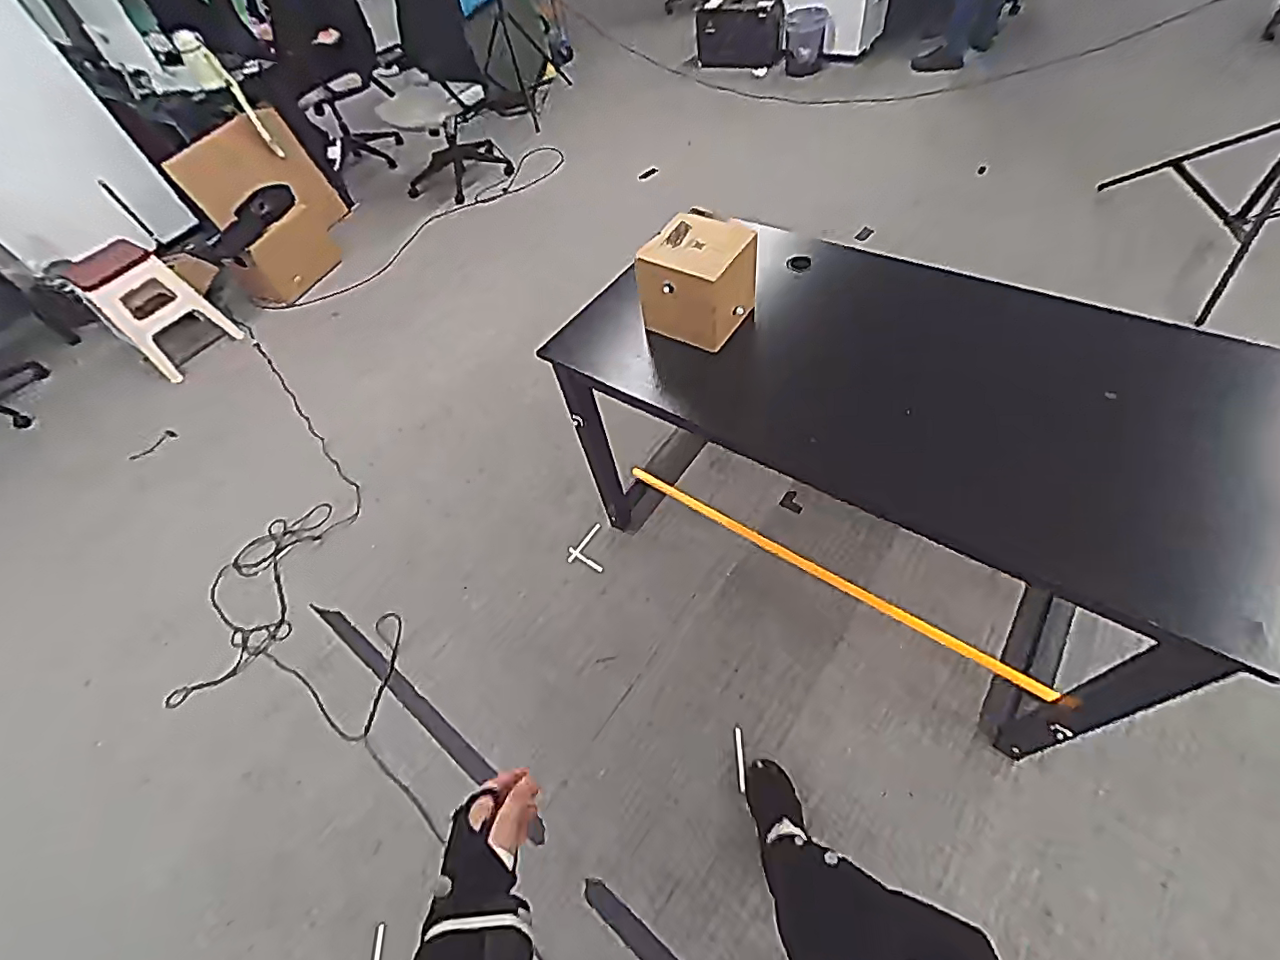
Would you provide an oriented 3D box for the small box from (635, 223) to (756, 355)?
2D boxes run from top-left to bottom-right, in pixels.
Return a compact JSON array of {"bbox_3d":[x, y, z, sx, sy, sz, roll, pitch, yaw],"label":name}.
[{"bbox_3d":[0.114,-0.378,1.081,0.179,0.176,0.168,26,63,24],"label":"small box"}]
